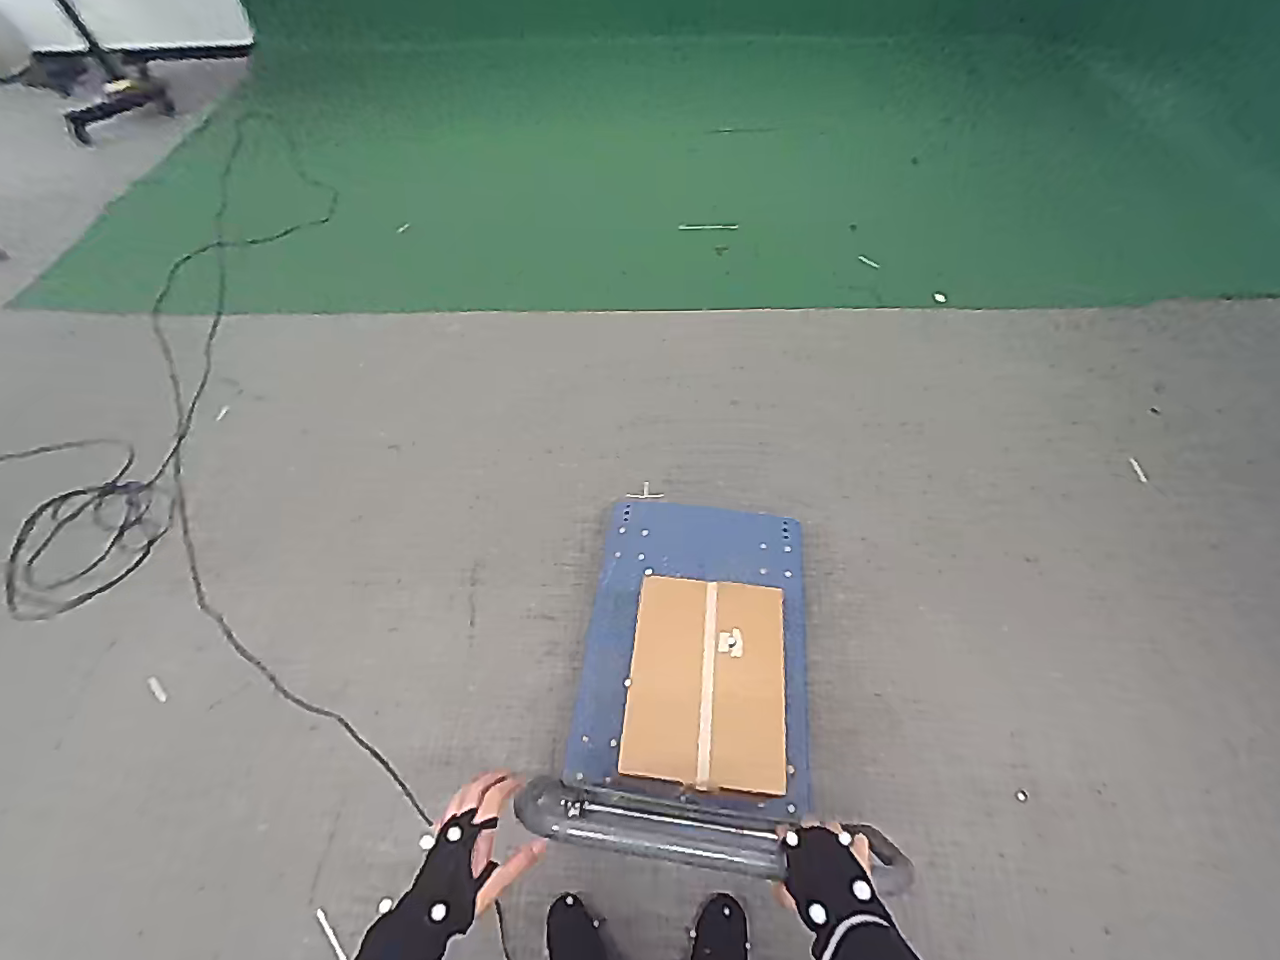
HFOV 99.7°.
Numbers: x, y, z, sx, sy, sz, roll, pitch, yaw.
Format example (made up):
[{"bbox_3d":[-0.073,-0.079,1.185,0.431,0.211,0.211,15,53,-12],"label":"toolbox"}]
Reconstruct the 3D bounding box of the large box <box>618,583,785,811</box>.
[{"bbox_3d":[0.136,0.493,1.224,0.320,0.320,0.408,6,55,5],"label":"large box"}]
